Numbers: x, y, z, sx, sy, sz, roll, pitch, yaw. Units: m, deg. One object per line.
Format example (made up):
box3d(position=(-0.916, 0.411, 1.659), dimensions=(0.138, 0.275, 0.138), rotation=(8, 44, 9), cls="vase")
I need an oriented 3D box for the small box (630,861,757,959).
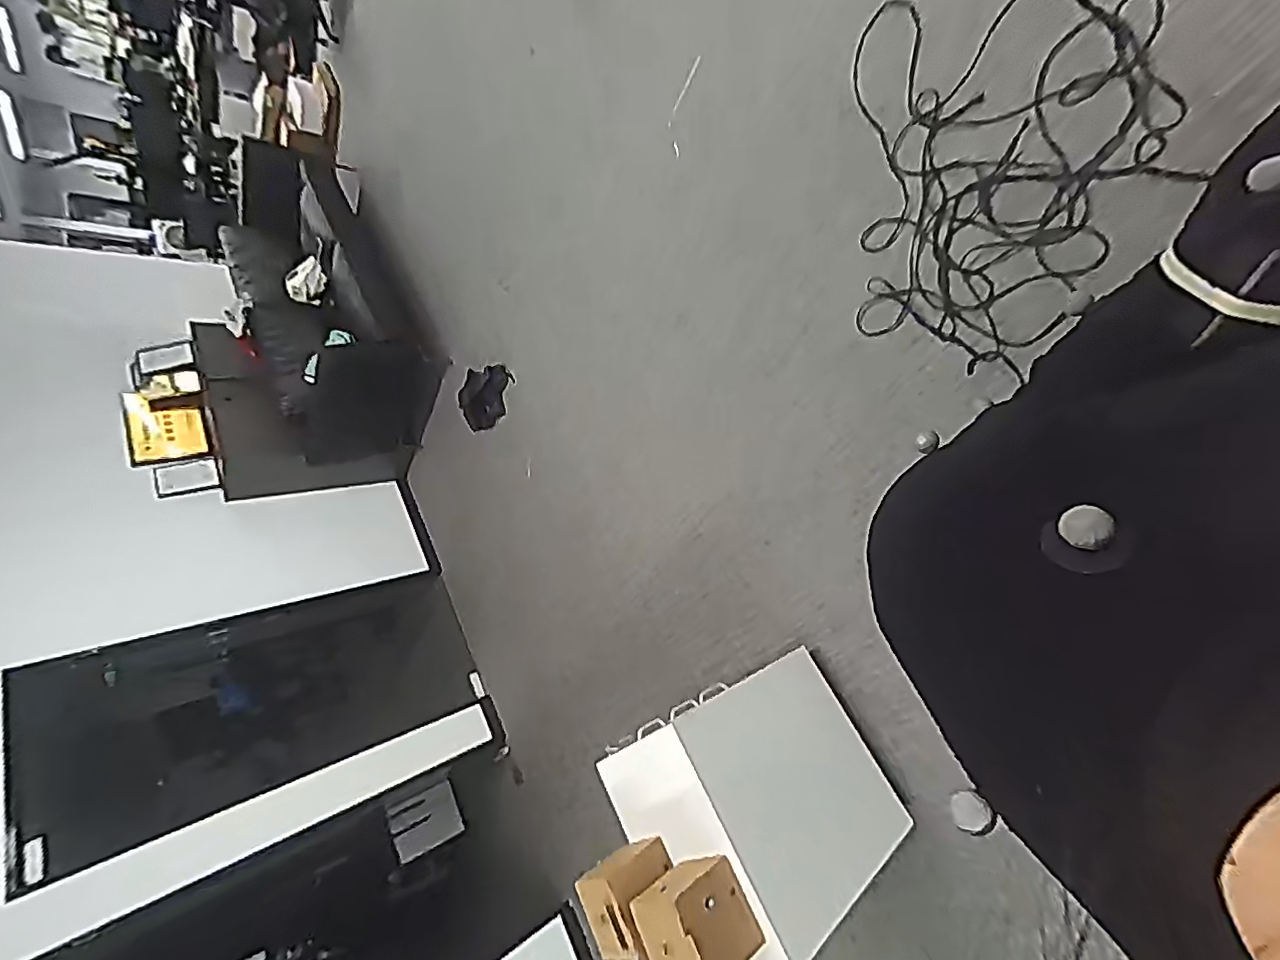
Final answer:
box3d(position=(0.115, 0.913, 1.106), dimensions=(0.179, 0.176, 0.168), rotation=(-50, 59, 42), cls="small box")
